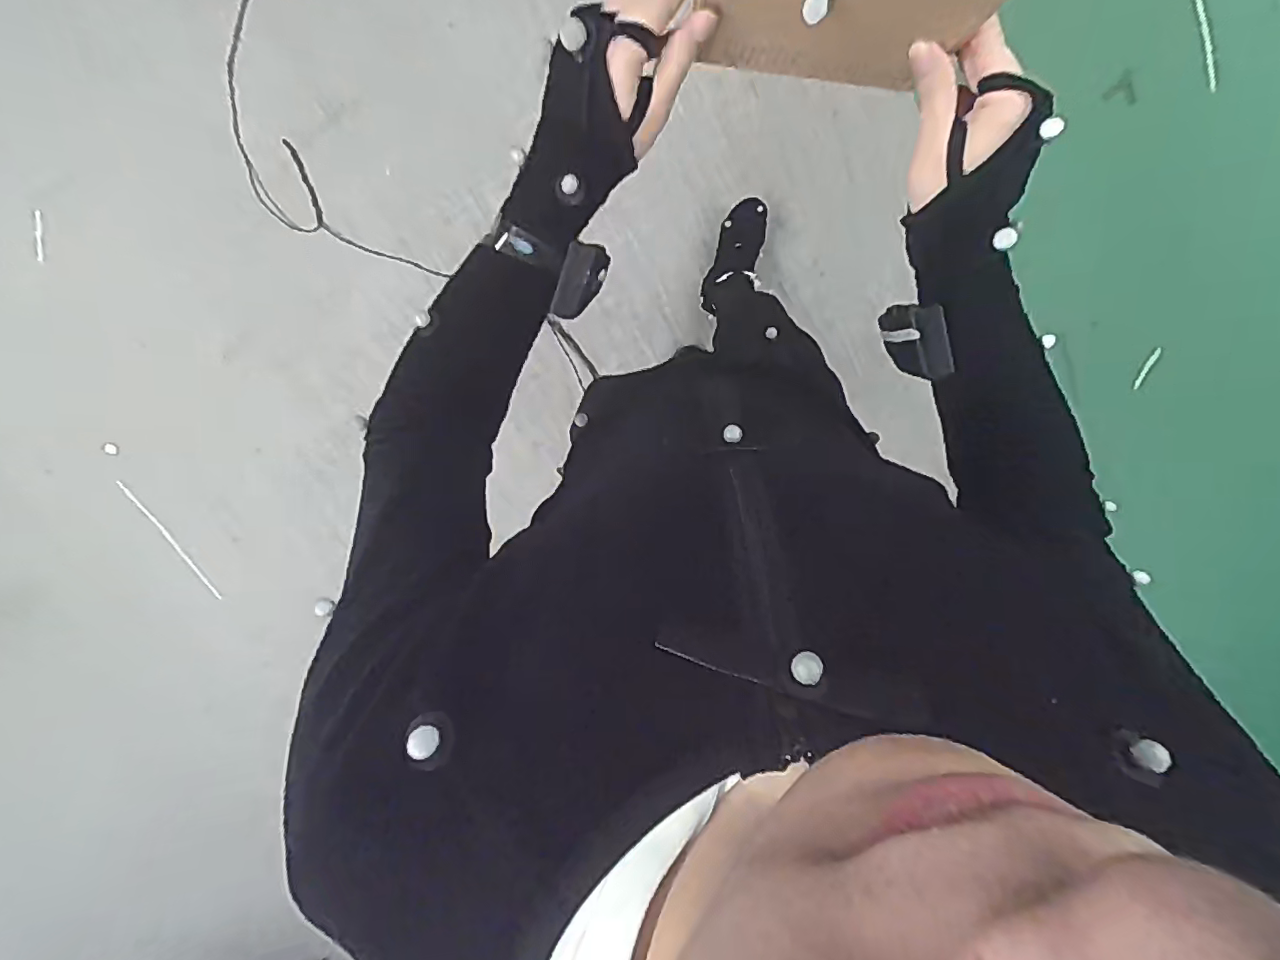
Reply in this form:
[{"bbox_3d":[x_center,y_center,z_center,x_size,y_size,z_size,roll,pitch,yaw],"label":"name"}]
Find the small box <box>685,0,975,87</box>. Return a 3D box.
[{"bbox_3d":[0.123,-0.360,0.308,0.179,0.176,0.168,7,103,0],"label":"small box"}]
